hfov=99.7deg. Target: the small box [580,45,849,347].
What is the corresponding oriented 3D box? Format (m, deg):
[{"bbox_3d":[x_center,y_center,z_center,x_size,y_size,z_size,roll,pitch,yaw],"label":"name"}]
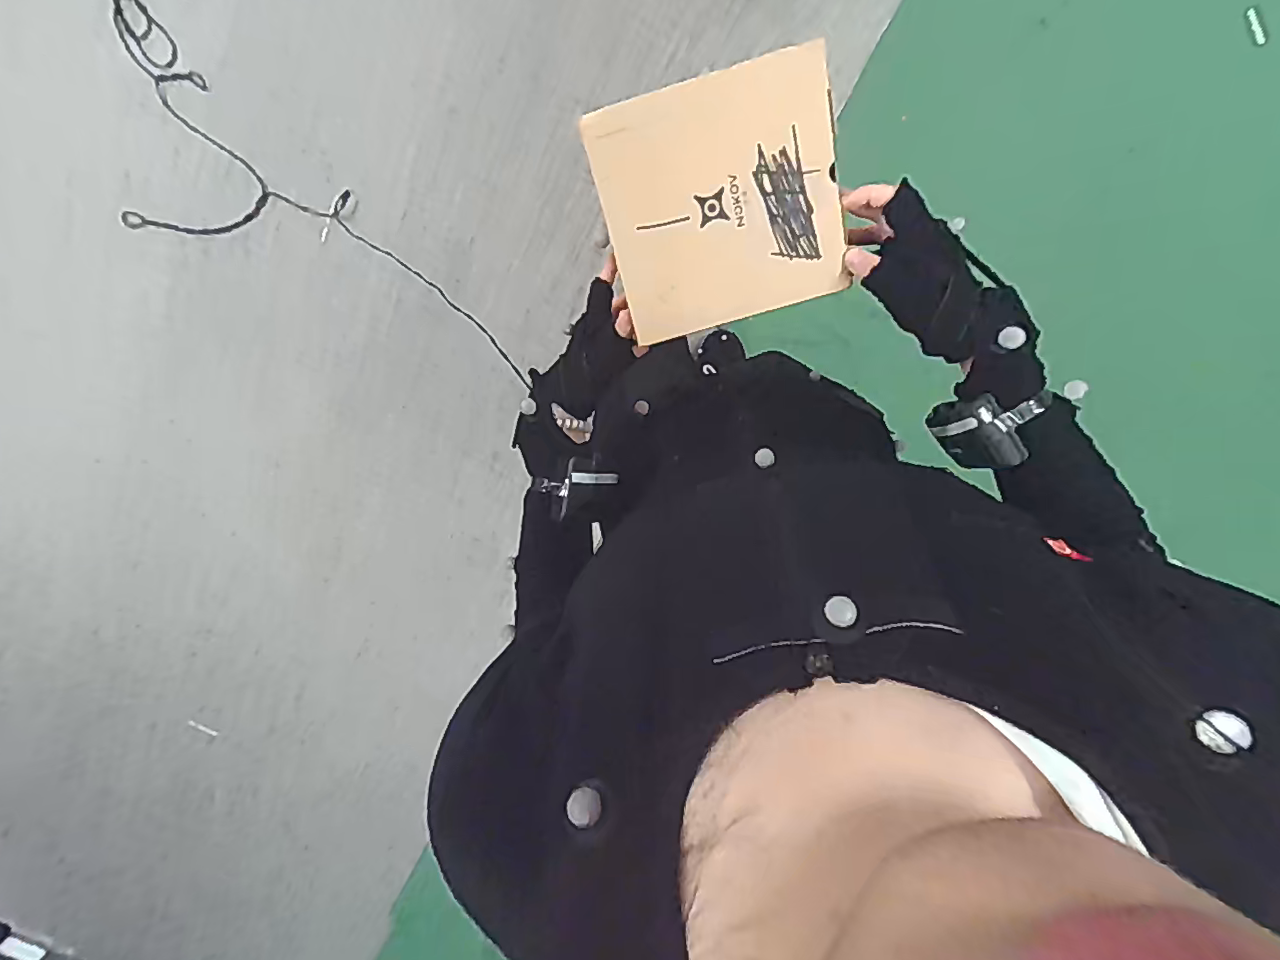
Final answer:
[{"bbox_3d":[0.056,-0.229,0.466,0.179,0.176,0.168,-14,112,4],"label":"small box"}]
